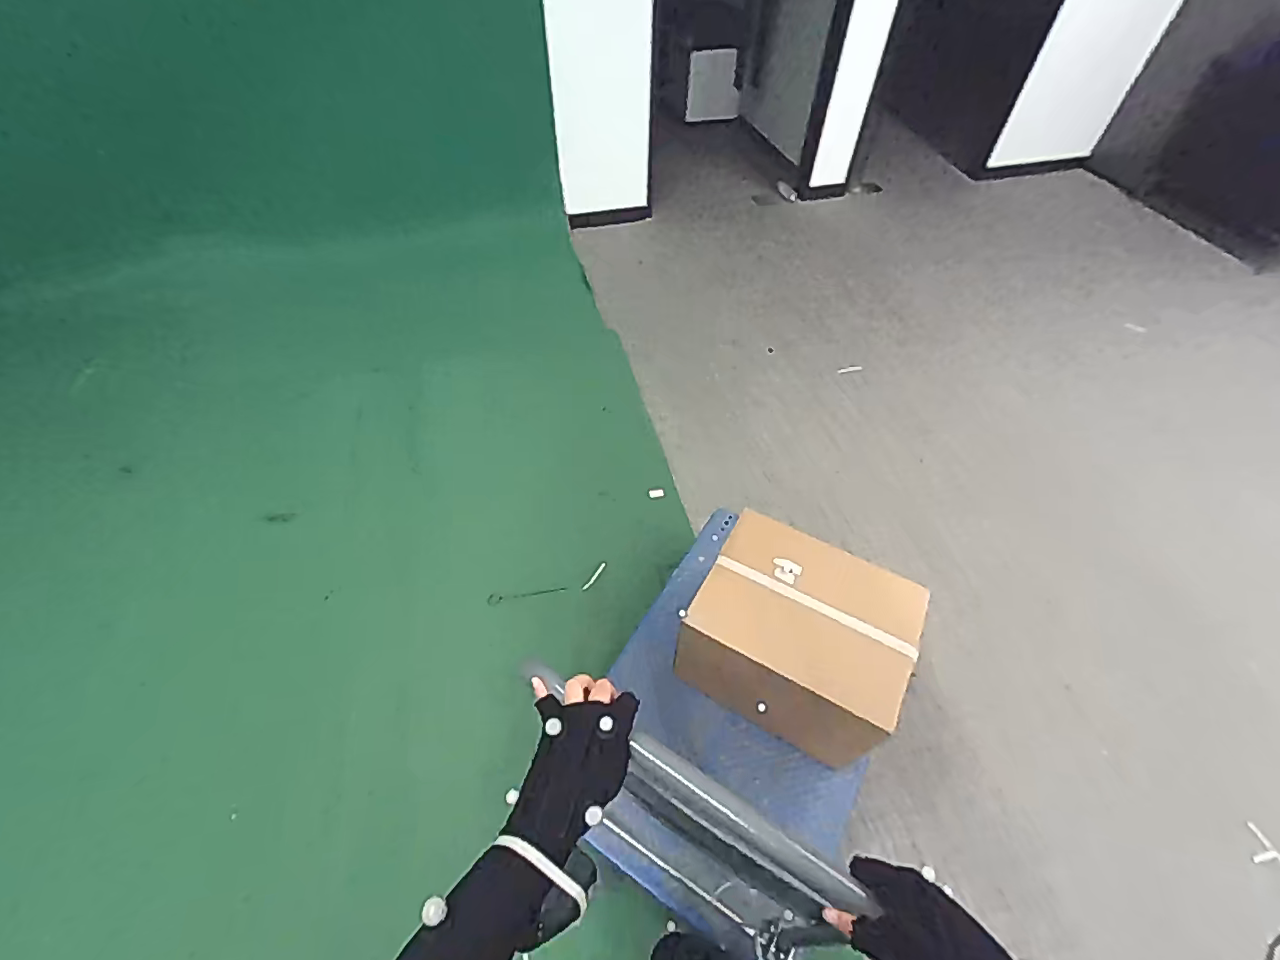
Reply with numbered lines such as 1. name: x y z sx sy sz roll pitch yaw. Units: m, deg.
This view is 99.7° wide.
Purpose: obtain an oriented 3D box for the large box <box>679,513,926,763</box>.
1. large box: 0.334 0.341 1.176 0.408 0.320 0.320 23 54 18
